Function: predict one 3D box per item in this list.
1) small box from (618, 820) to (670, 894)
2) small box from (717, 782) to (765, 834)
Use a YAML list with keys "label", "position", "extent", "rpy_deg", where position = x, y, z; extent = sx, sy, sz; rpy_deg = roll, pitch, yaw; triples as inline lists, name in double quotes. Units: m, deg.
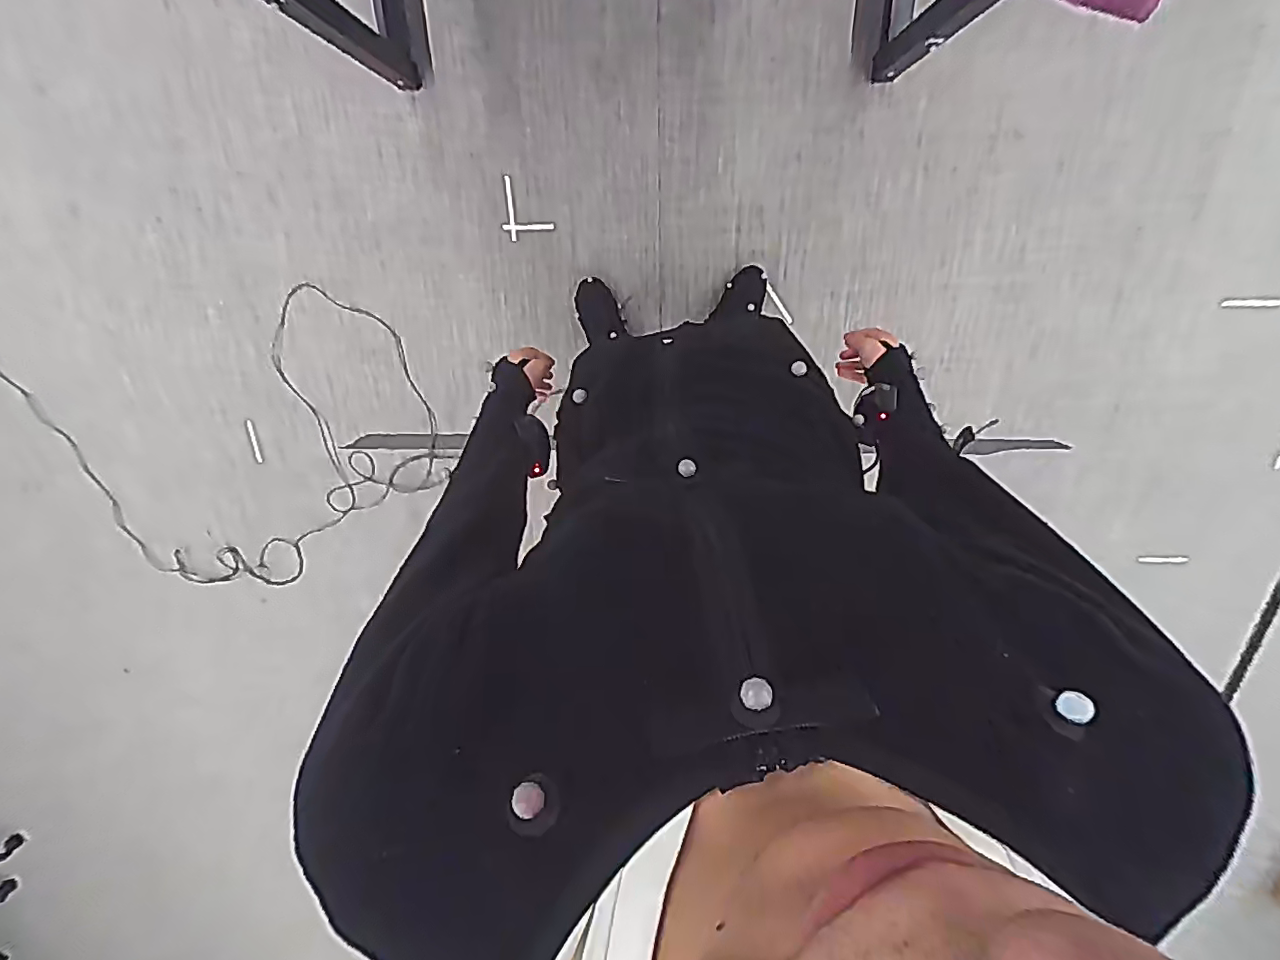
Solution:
- label: "small box"
  position: [0.014, 1.408, 2.023]
  extent: [0.179, 0.176, 0.168]
  rpy_deg: [5, 113, 0]
- label: "small box"
  position: [0.403, 1.347, 2.166]
  extent: [0.168, 0.176, 0.179]
  rpy_deg: [-4, 112, 2]
